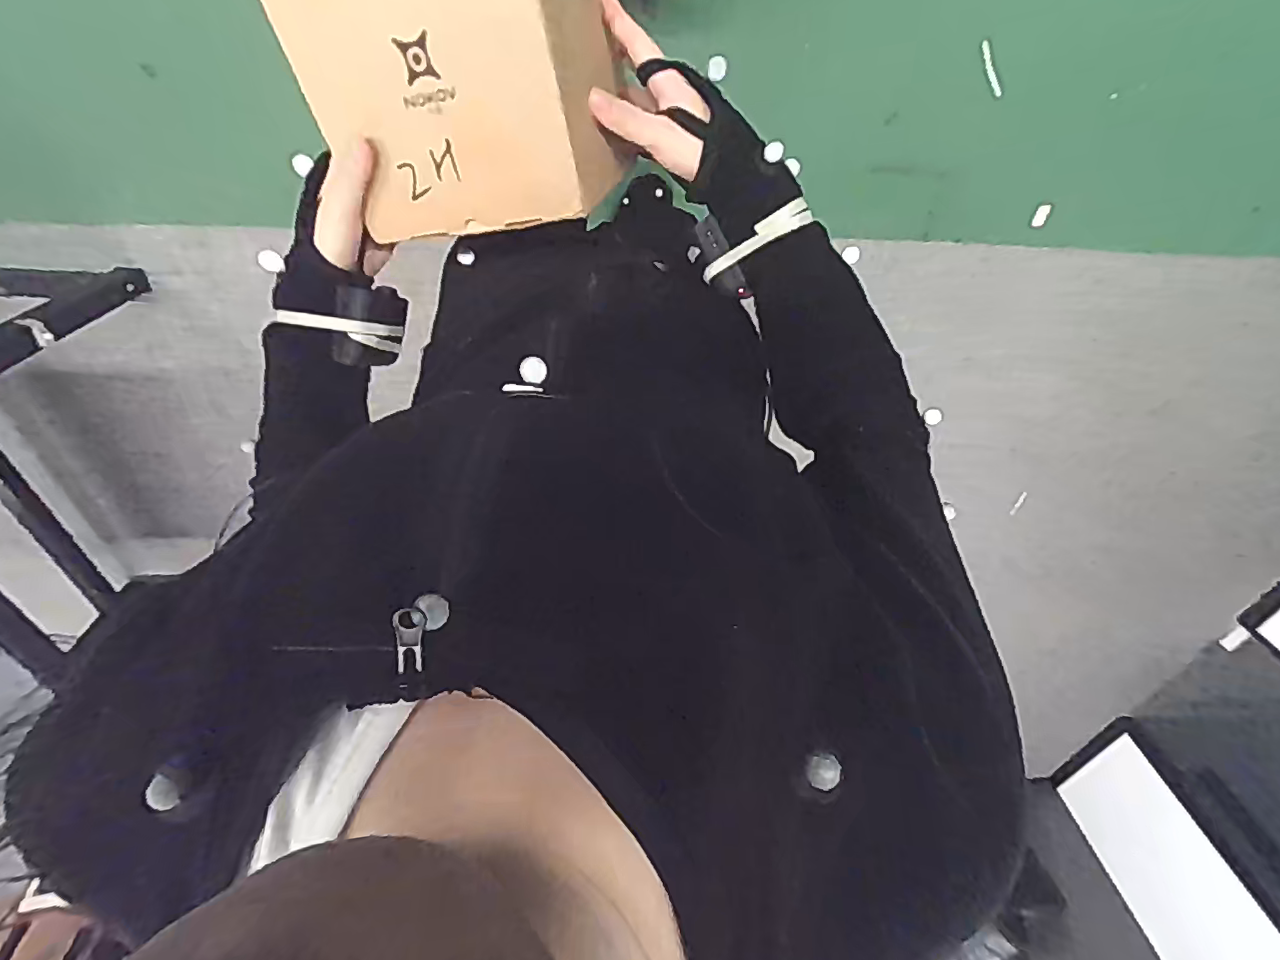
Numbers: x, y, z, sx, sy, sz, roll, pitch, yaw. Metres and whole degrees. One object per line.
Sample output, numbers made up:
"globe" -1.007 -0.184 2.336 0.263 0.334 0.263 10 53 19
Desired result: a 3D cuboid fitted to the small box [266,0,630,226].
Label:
"small box" -0.111 -0.294 0.368 0.168 0.176 0.179 1 130 14
